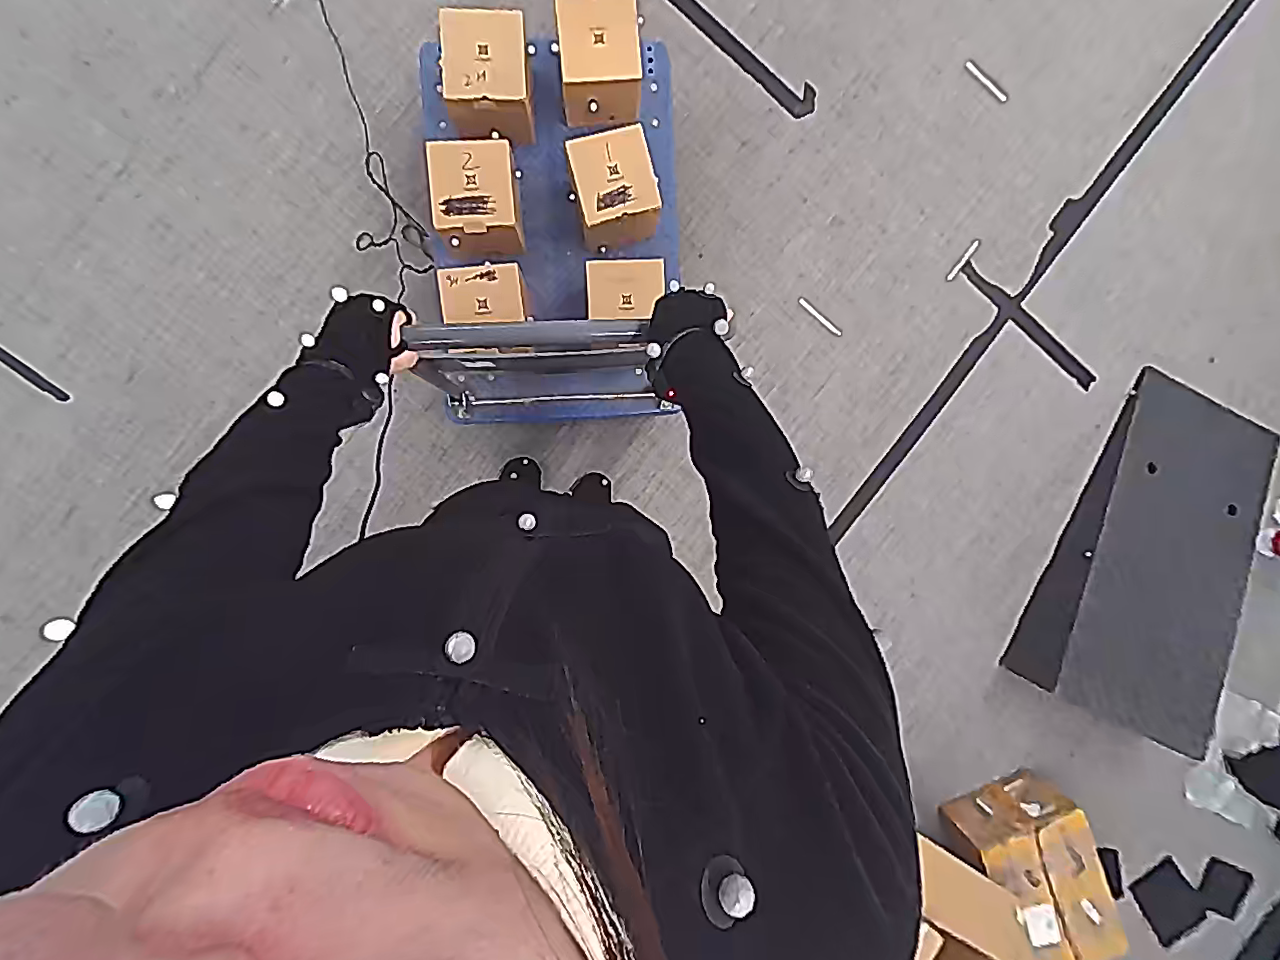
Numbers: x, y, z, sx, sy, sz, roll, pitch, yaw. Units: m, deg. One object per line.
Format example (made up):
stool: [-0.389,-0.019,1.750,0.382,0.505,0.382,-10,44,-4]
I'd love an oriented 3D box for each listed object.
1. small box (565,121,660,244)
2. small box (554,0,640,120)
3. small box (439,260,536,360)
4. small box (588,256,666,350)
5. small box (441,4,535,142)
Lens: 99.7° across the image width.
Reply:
small box: [-0.059,-0.643,1.196,0.168,0.176,0.179,-15,94,-3]
small box: [-0.090,-0.914,1.175,0.168,0.176,0.179,-6,94,-3]
small box: [-0.328,-0.365,1.193,0.168,0.176,0.179,-7,95,-5]
small box: [-0.031,-0.389,1.216,0.168,0.176,0.179,-2,94,-5]
small box: [-0.319,-0.863,1.160,0.168,0.176,0.179,-1,95,-4]
